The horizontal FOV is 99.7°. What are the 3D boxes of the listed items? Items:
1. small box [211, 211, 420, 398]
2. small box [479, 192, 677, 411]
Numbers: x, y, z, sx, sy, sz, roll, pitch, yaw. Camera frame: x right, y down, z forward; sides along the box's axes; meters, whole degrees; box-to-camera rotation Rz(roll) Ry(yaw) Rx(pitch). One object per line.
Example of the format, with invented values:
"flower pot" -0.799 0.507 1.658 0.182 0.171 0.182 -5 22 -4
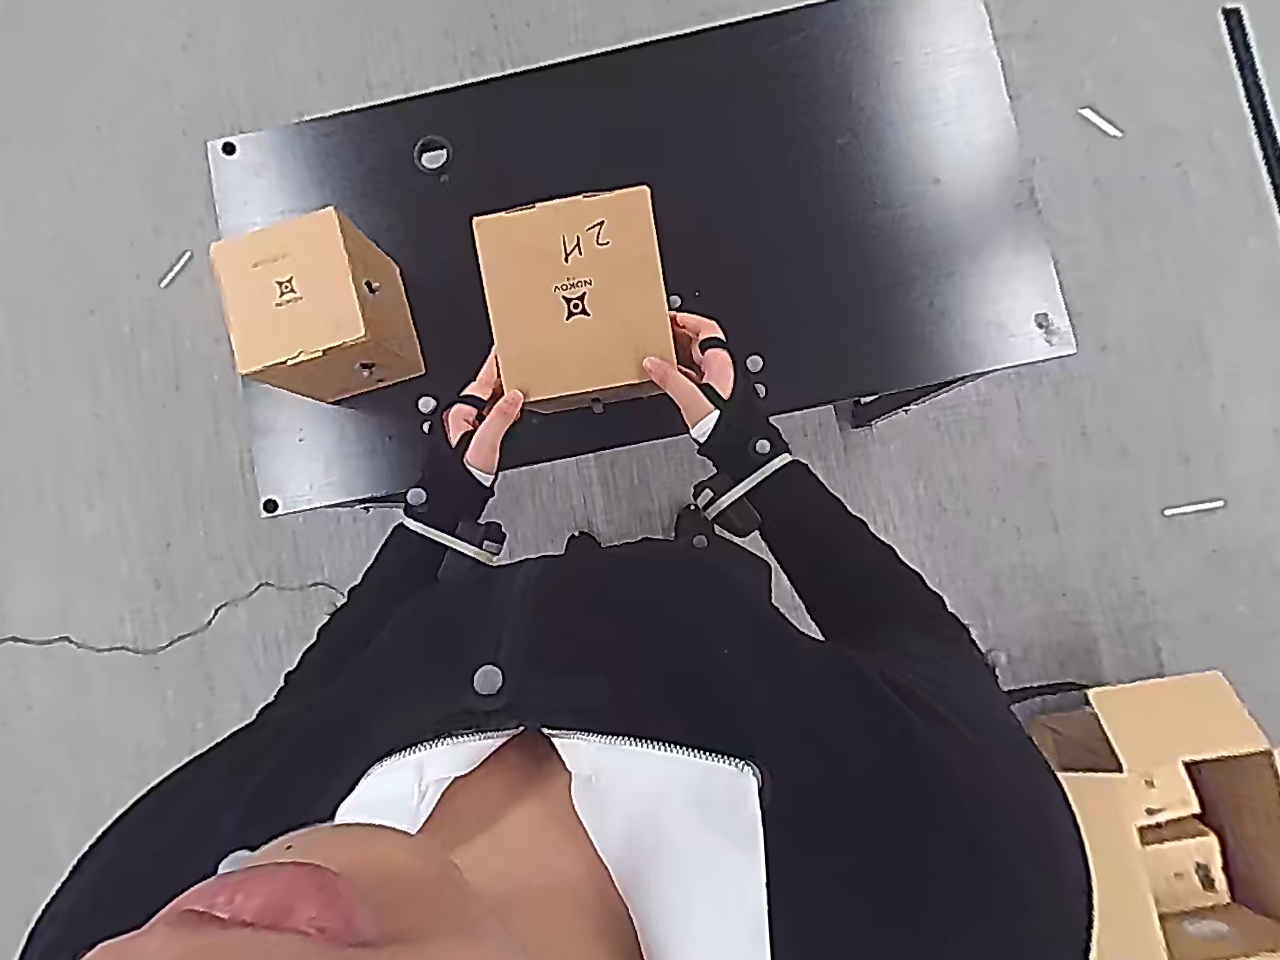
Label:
"small box" -0.427 -0.222 0.741 0.168 0.176 0.179 -17 85 0
"small box" -0.052 -0.170 0.576 0.168 0.176 0.179 -9 94 2
